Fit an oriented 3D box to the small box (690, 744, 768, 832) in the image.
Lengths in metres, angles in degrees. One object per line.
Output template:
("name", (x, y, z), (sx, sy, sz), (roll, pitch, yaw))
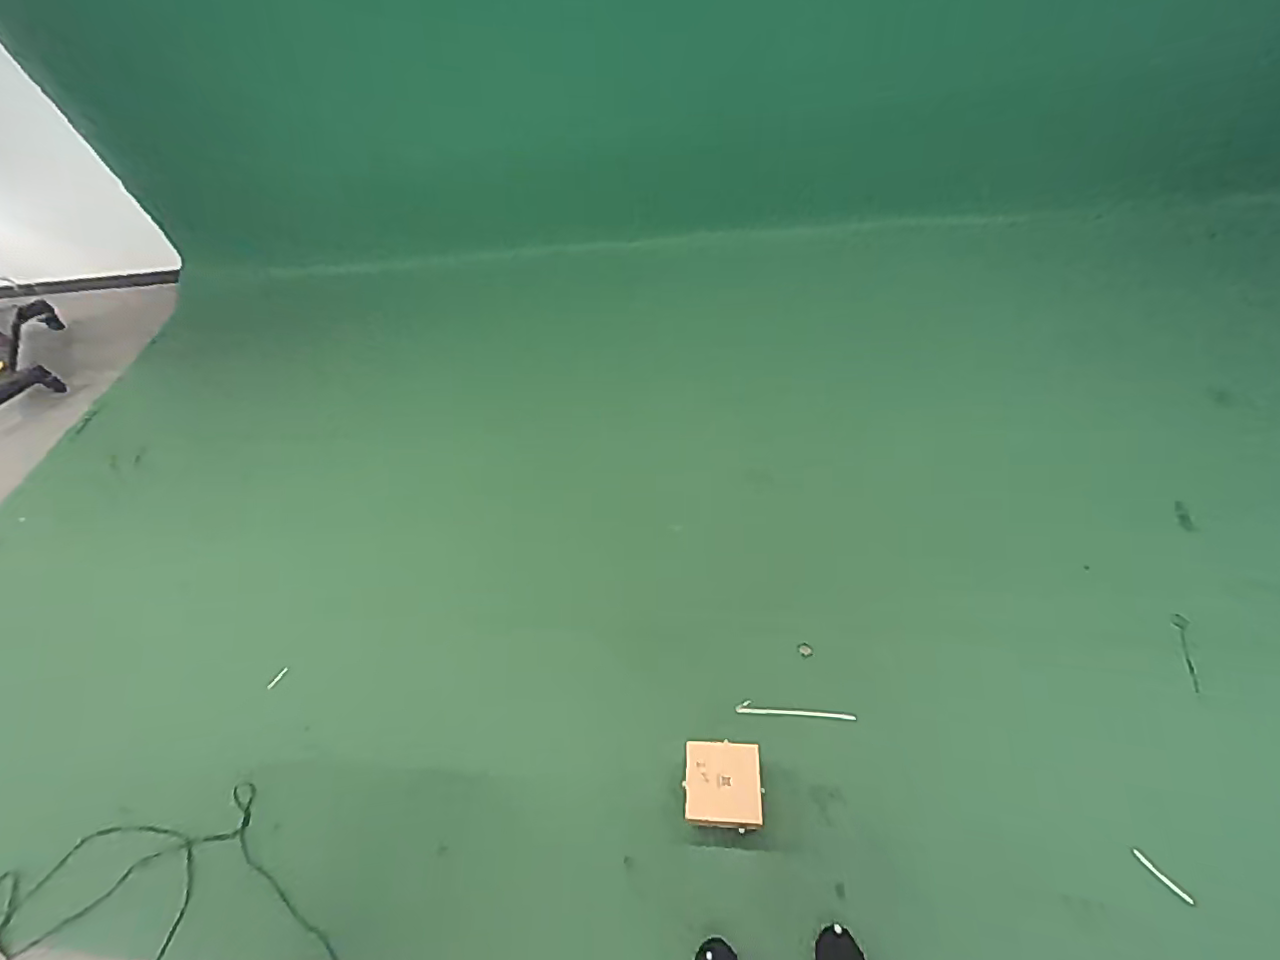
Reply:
("small box", (0.216, 0.759, 1.328), (0.179, 0.176, 0.168), (-1, 53, 9))
